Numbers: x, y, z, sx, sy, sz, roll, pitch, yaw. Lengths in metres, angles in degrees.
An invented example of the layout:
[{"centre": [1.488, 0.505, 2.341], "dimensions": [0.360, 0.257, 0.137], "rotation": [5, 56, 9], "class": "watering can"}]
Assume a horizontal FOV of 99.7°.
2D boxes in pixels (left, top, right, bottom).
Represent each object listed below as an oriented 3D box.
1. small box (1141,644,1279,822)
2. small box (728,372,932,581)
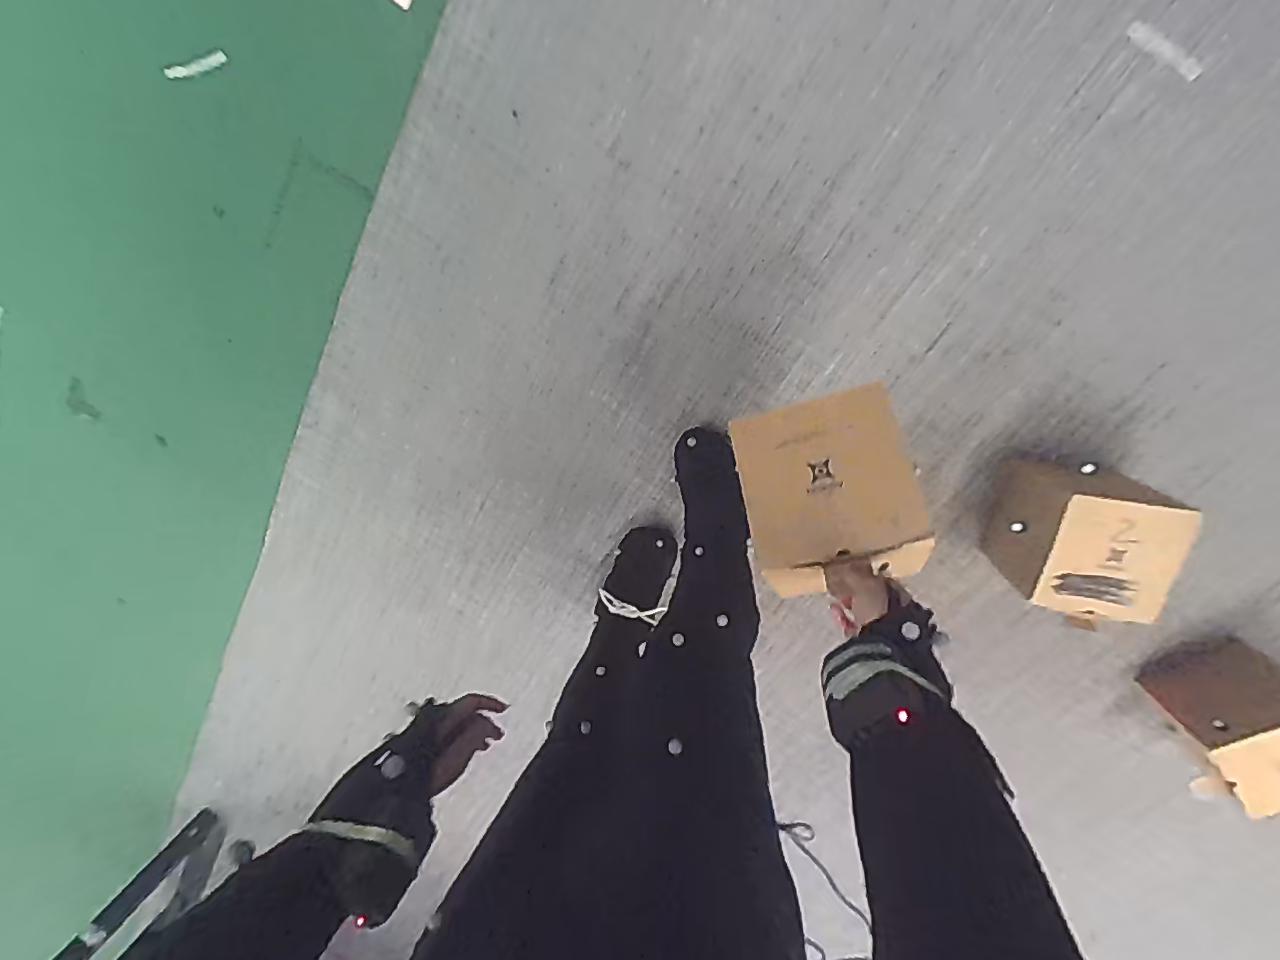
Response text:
[{"centre": [0.992, 0.401, 0.878], "dimensions": [0.179, 0.176, 0.168], "rotation": [-35, 101, 20], "class": "small box"}, {"centre": [0.211, 0.012, 0.613], "dimensions": [0.168, 0.176, 0.179], "rotation": [-14, 66, 16], "class": "small box"}]
